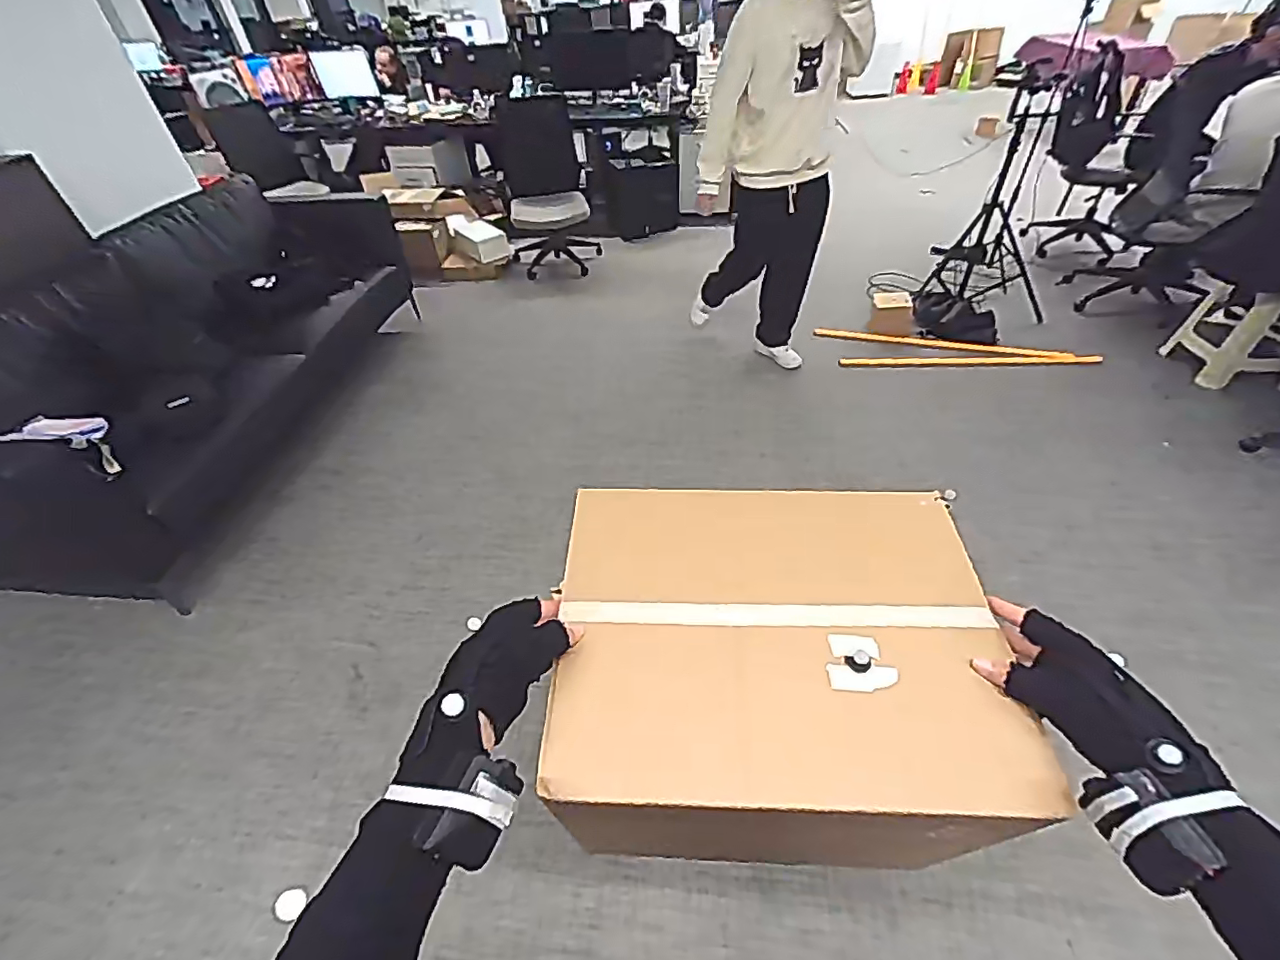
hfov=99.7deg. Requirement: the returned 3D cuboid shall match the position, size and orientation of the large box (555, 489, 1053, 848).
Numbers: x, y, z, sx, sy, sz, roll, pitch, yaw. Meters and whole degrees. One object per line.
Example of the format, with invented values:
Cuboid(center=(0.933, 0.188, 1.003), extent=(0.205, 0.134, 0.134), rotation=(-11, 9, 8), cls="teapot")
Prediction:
Cuboid(center=(0.131, 0.225, 0.635), extent=(0.408, 0.320, 0.320), rotation=(1, 50, 2), cls="large box")
